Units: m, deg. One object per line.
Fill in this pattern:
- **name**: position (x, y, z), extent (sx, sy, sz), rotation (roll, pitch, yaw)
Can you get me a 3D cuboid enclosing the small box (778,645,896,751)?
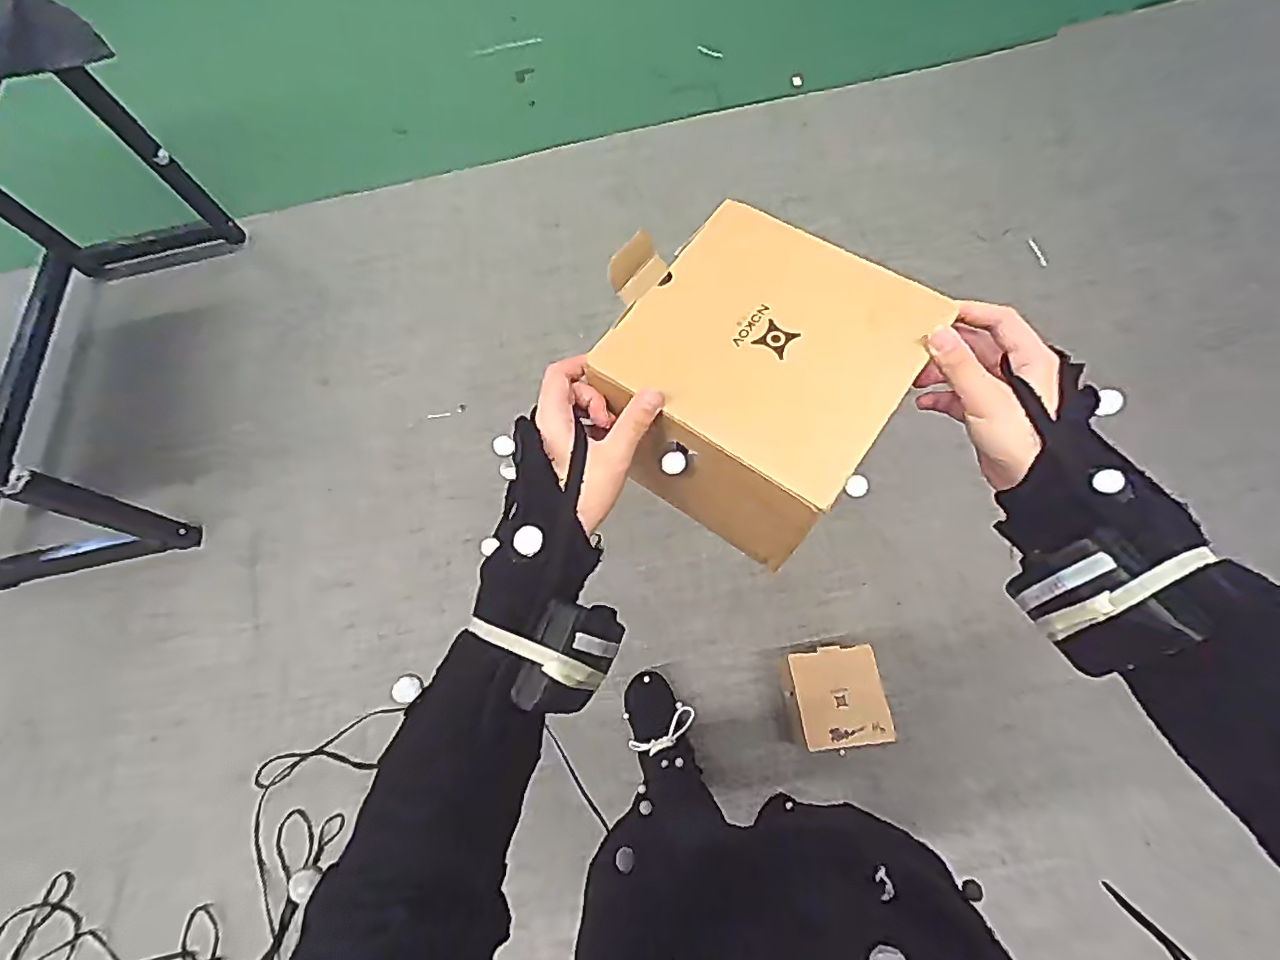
- **small box**: position (0.386, 0.444, 1.099), extent (0.168, 0.176, 0.179), rotation (-8, 66, 2)
